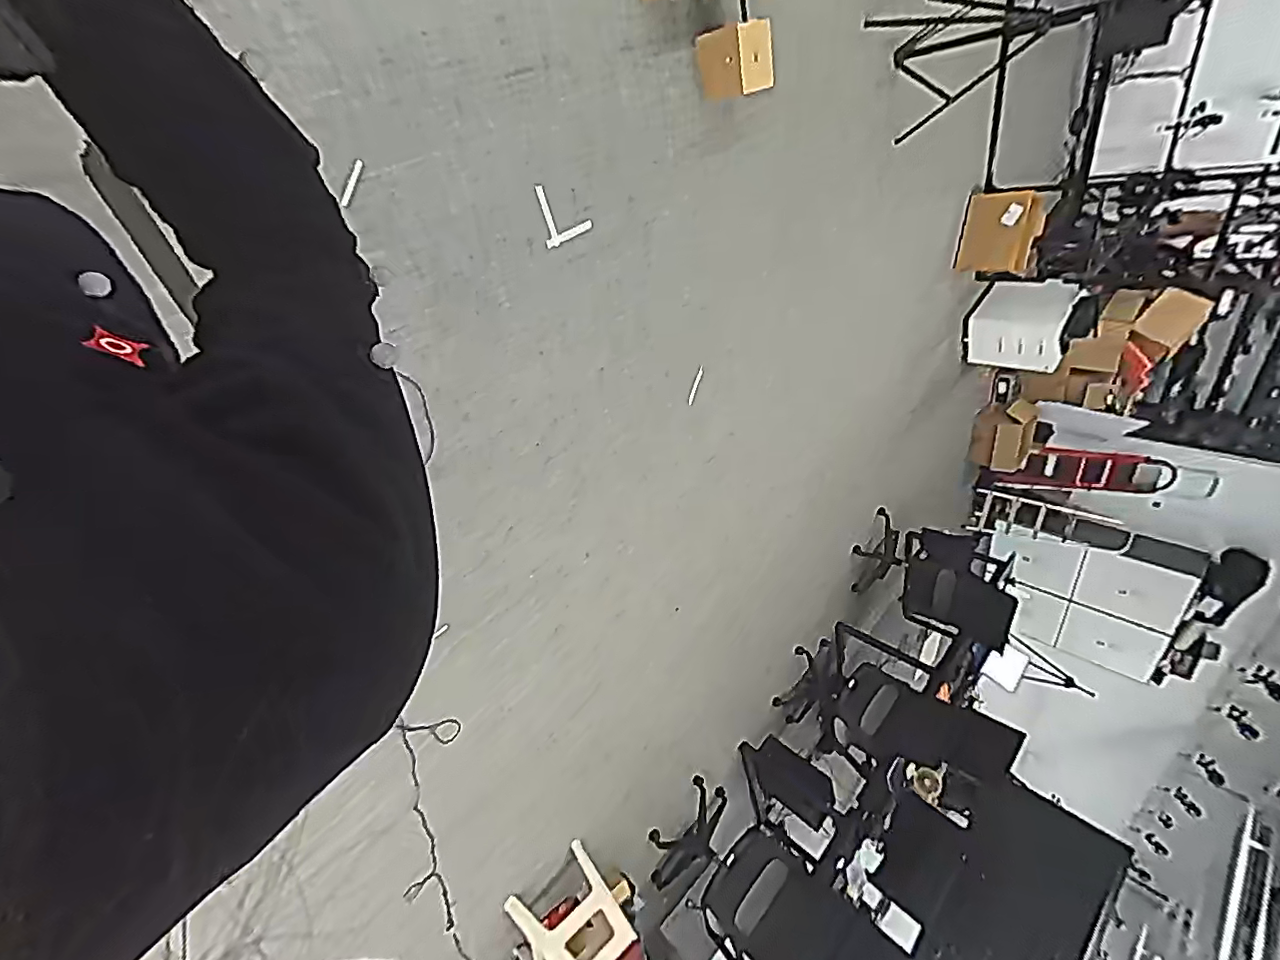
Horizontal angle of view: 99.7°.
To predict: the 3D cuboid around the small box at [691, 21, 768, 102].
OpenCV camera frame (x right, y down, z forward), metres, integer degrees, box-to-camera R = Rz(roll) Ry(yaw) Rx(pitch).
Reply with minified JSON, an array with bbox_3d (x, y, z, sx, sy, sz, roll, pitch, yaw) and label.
[{"bbox_3d":[0.284,-1.326,1.722,0.168,0.176,0.179,-36,129,-30],"label":"small box"}]
